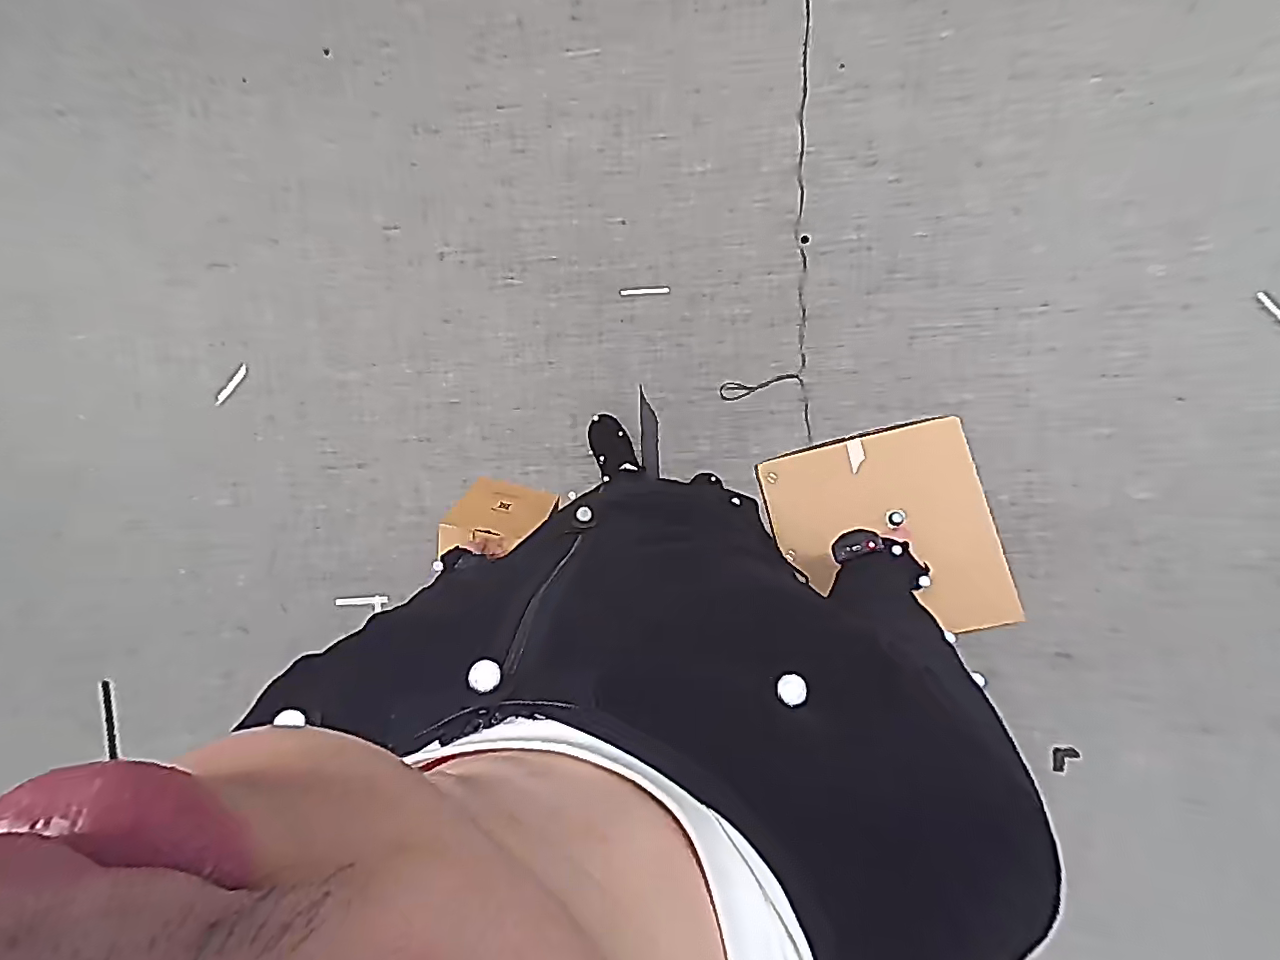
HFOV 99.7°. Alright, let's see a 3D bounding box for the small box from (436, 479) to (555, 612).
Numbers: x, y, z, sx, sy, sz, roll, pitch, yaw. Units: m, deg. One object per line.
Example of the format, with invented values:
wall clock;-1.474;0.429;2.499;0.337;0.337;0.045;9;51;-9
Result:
small box;-0.261;0.120;1.003;0.168;0.179;0.176;10;115;1
